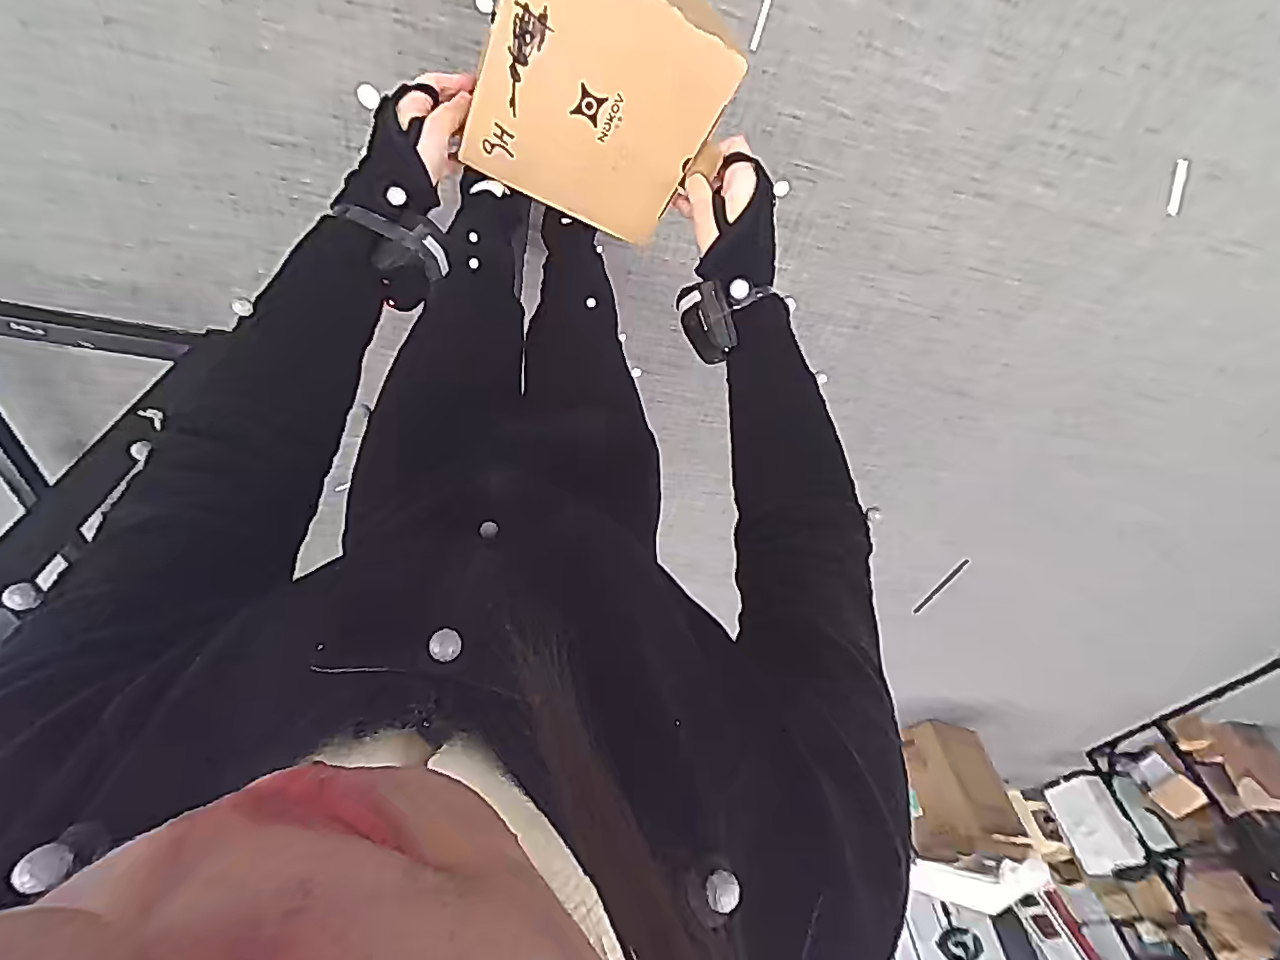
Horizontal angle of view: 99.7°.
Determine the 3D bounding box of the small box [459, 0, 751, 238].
[{"bbox_3d":[-0.039,-0.352,0.459,0.179,0.176,0.168,14,138,-27],"label":"small box"}]
